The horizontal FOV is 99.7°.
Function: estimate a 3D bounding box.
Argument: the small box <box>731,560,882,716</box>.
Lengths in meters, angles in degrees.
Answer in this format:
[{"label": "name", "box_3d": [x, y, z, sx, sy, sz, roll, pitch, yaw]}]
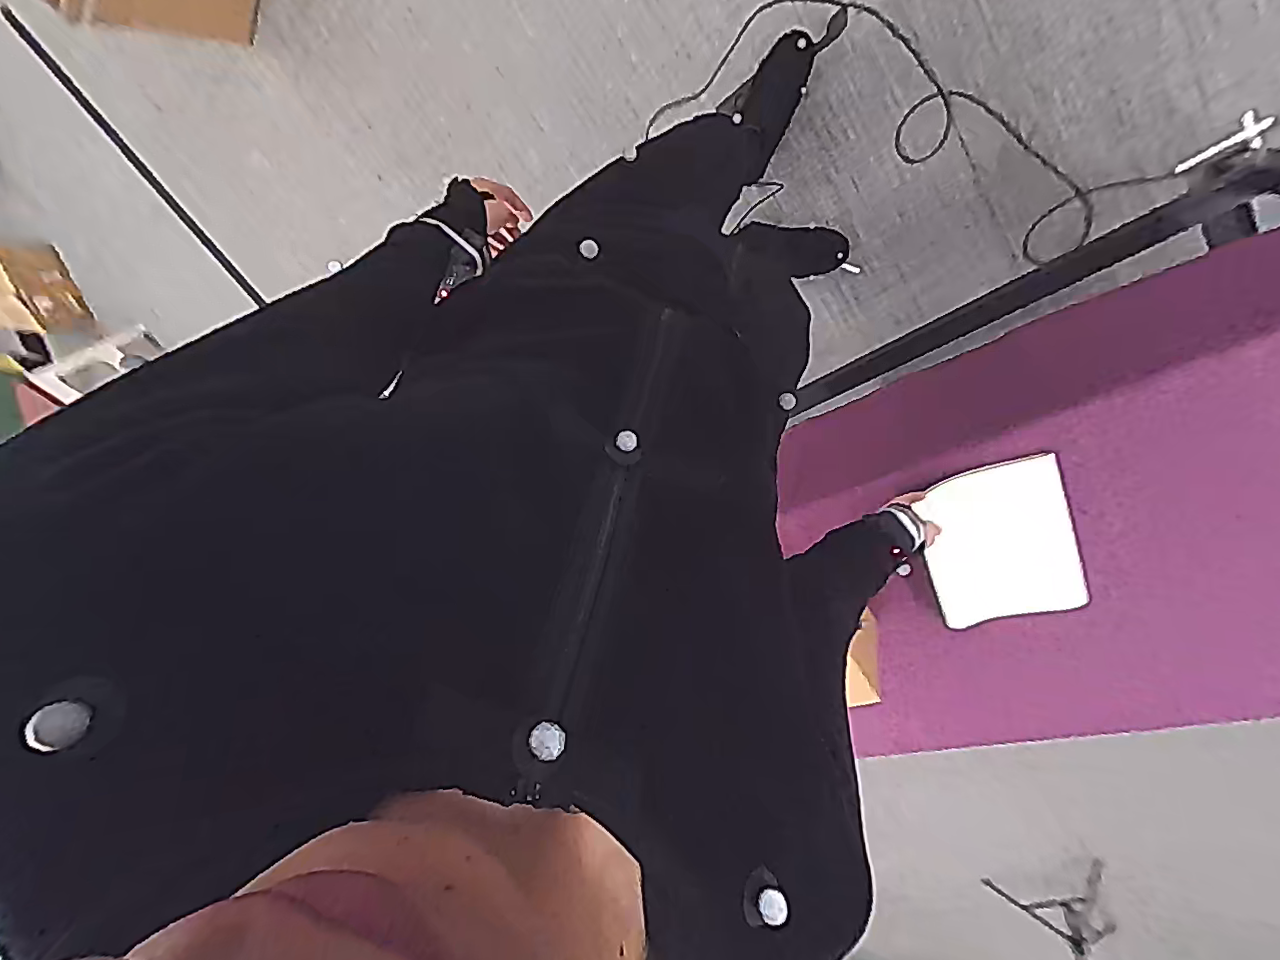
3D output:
[{"label": "small box", "box_3d": [0.274, 0.256, 0.888, 0.179, 0.176, 0.168, -24, 110, 32]}]
